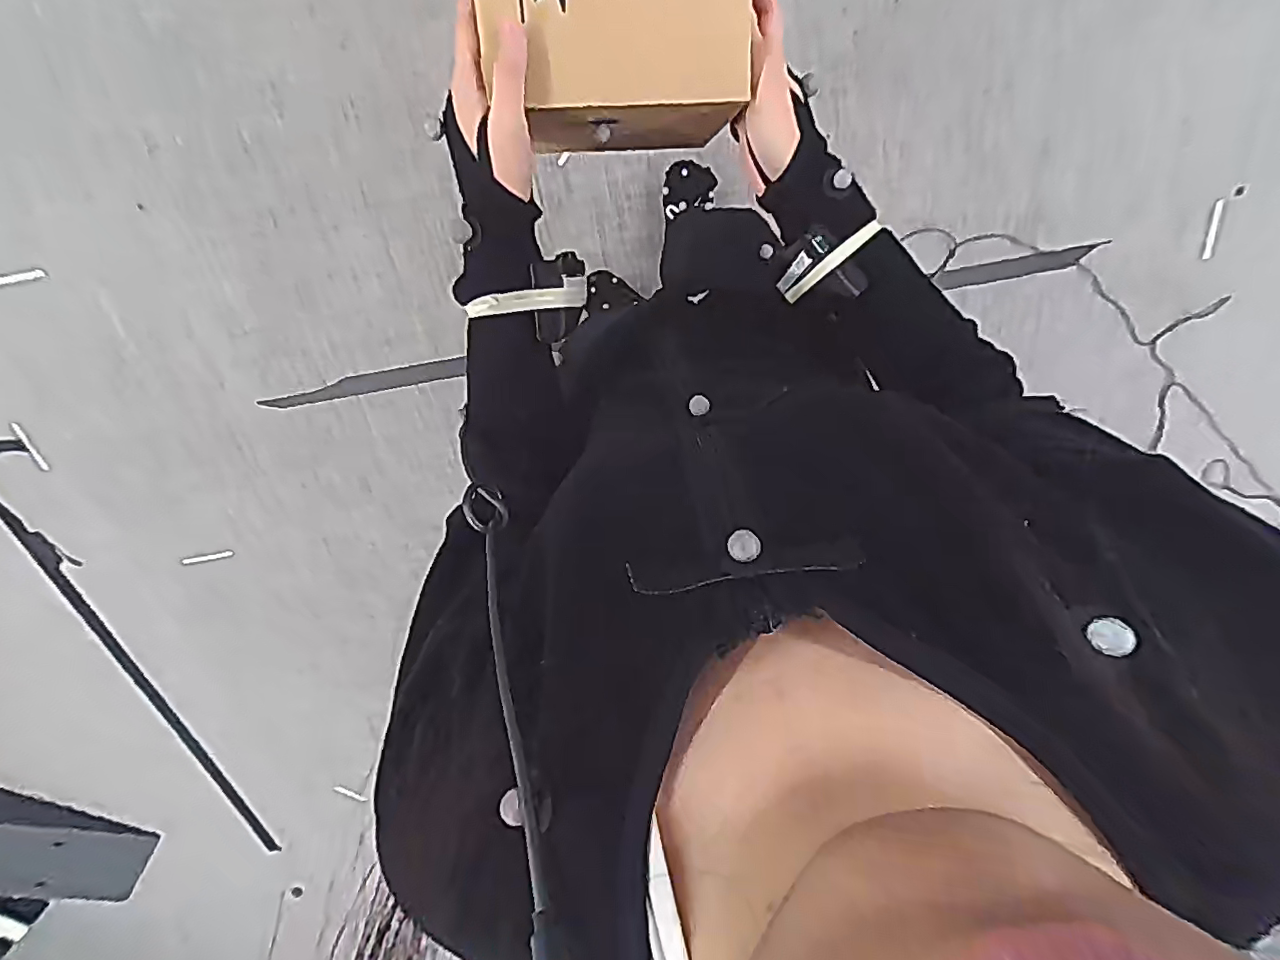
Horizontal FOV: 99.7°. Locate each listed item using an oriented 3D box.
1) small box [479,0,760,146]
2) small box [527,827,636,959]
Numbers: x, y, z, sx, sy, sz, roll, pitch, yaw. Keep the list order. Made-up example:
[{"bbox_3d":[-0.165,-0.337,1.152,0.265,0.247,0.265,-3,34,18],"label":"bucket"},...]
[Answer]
[{"bbox_3d":[-0.018,-0.353,0.394,0.179,0.176,0.168,-4,113,-4],"label":"small box"},{"bbox_3d":[-0.105,0.808,1.042,0.179,0.176,0.168,-9,116,0],"label":"small box"}]
